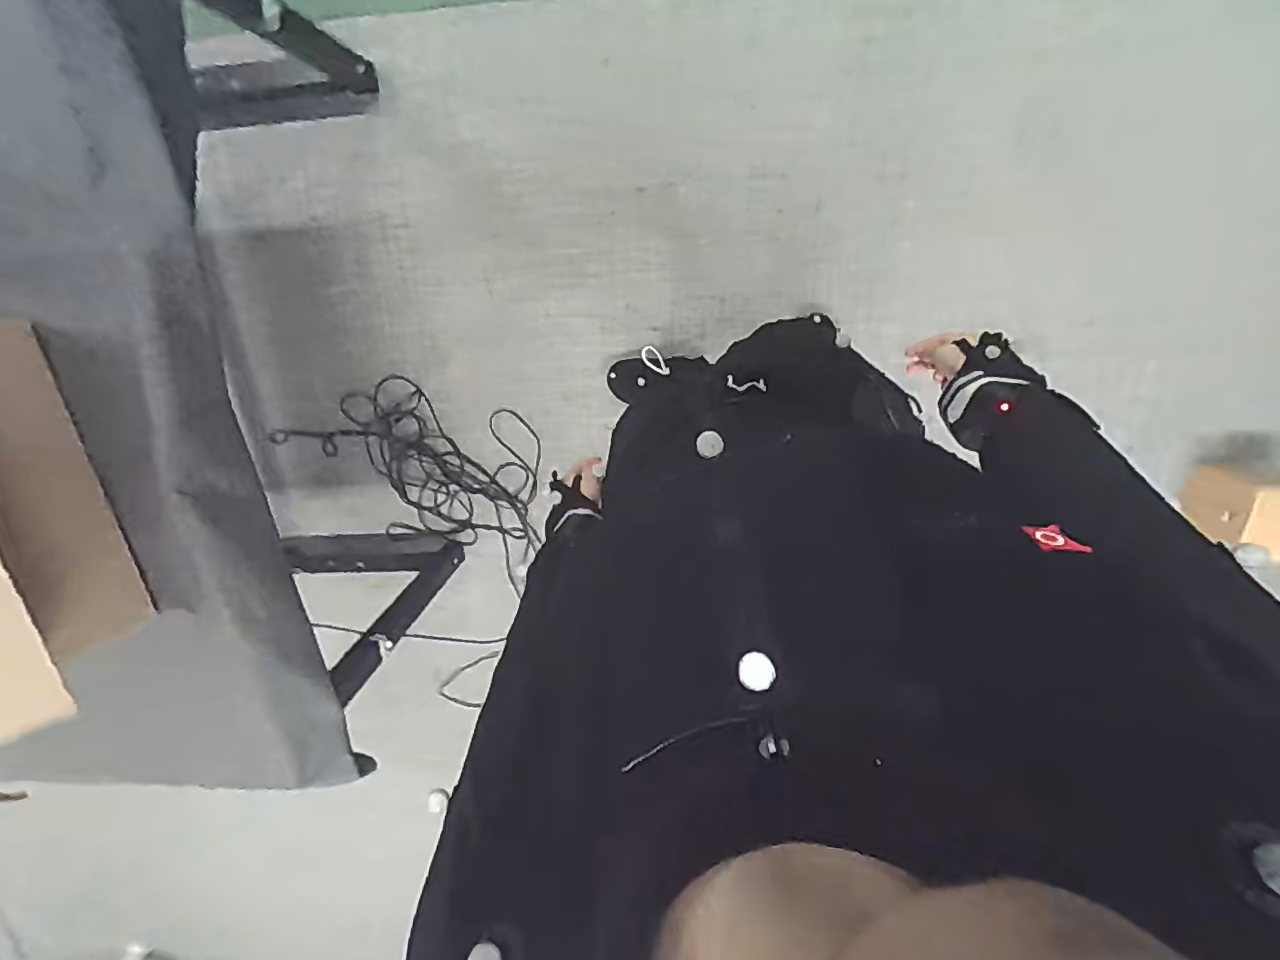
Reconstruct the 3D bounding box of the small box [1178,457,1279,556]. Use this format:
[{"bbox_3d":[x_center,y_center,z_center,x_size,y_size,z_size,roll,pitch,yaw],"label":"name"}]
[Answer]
[{"bbox_3d":[1.380,0.056,1.217,0.168,0.176,0.179,-2,109,6],"label":"small box"}]
